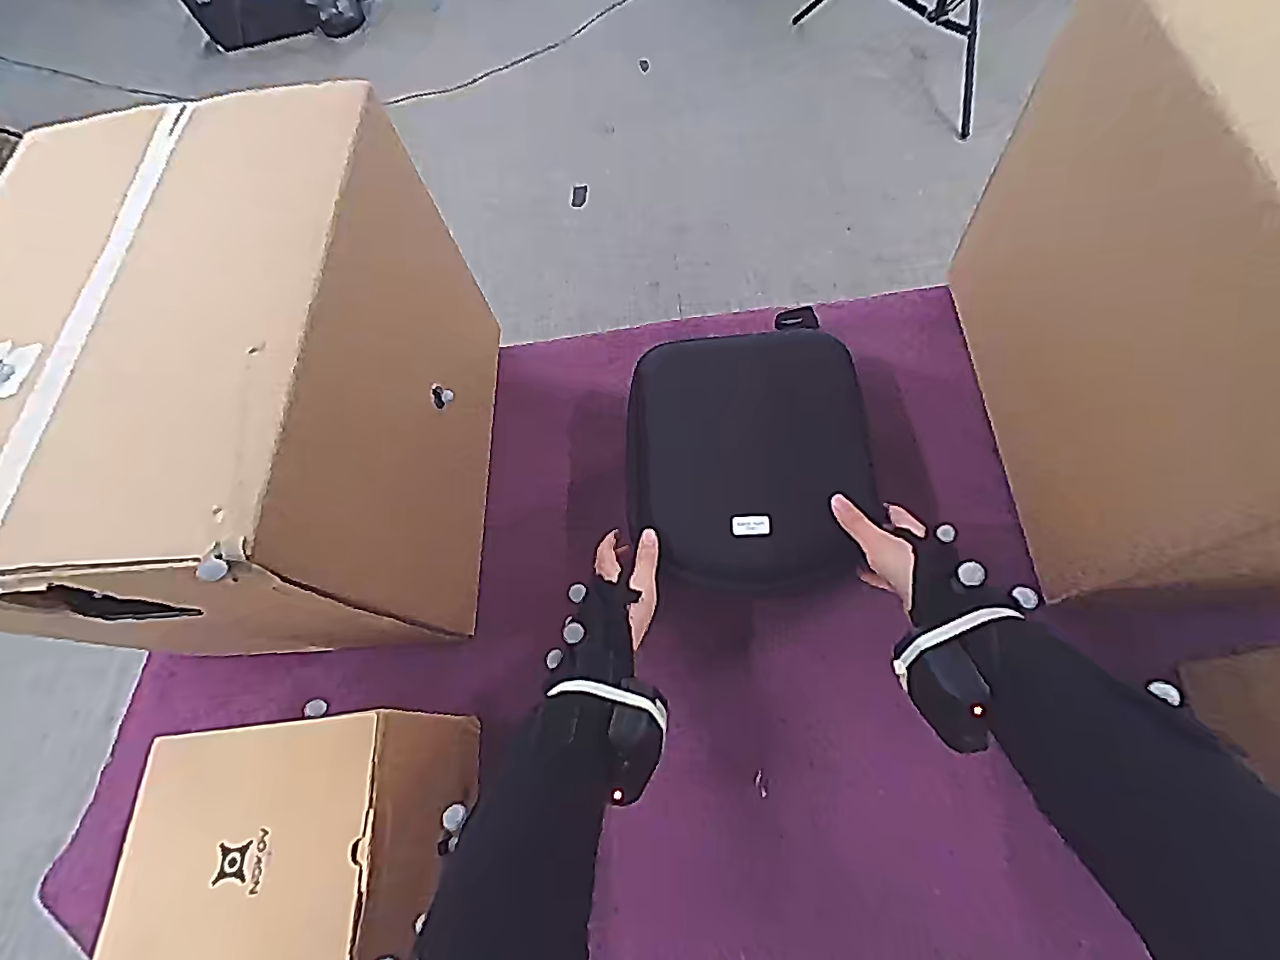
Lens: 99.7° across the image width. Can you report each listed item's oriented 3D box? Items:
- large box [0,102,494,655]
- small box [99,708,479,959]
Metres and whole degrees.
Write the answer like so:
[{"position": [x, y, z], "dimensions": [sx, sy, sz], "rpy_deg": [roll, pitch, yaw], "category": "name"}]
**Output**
[{"position": [-0.343, -0.062, 0.517], "dimensions": [0.320, 0.320, 0.408], "rpy_deg": [-6, 67, 5], "category": "large box"}, {"position": [-0.246, 0.280, 0.422], "dimensions": [0.179, 0.176, 0.168], "rpy_deg": [-9, 63, 4], "category": "small box"}]
